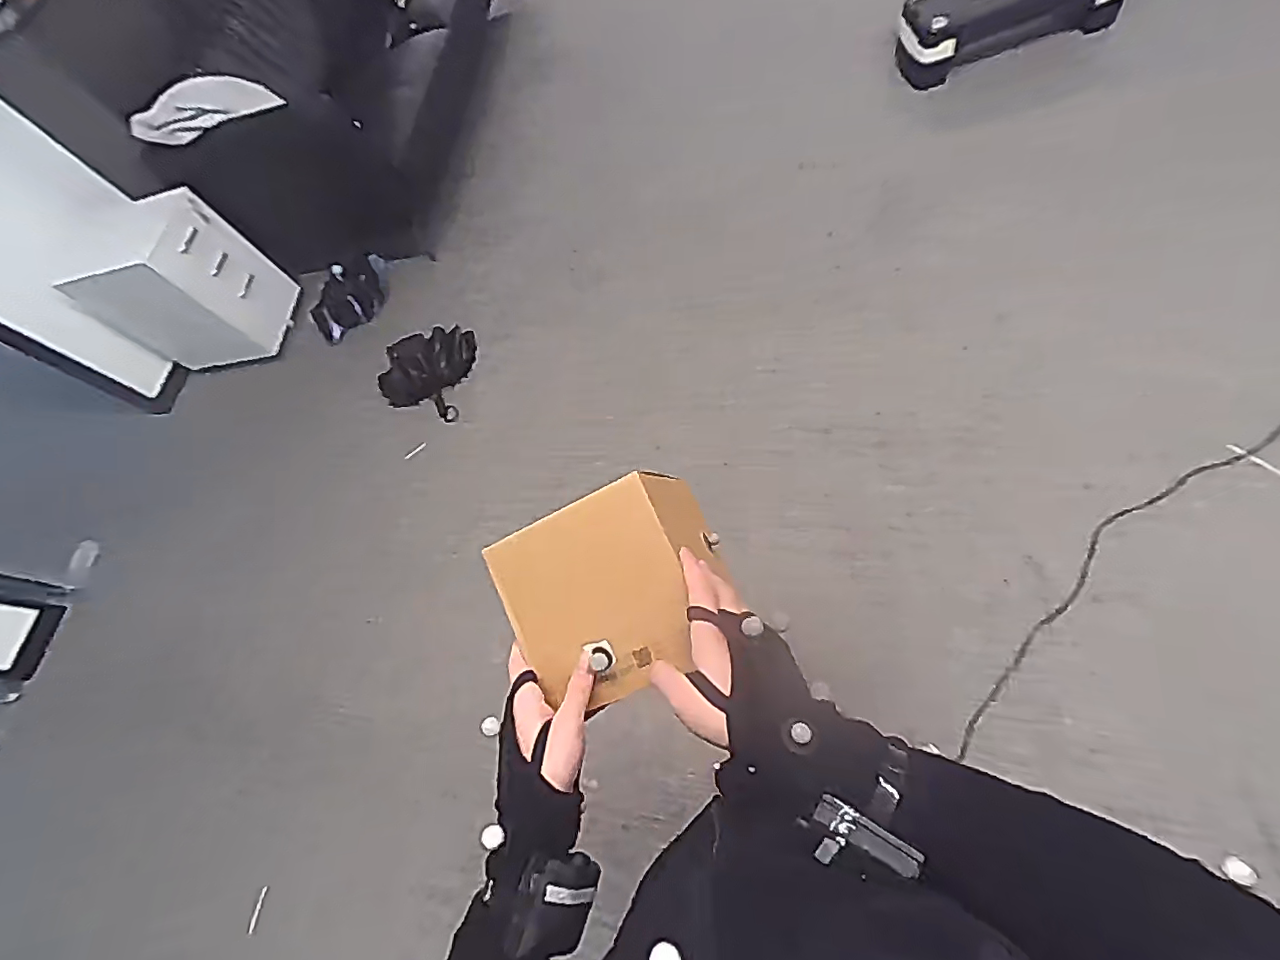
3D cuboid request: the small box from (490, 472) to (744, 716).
[{"bbox_3d":[-0.010,0.106,0.539,0.168,0.179,0.176,-28,80,14],"label":"small box"}]
